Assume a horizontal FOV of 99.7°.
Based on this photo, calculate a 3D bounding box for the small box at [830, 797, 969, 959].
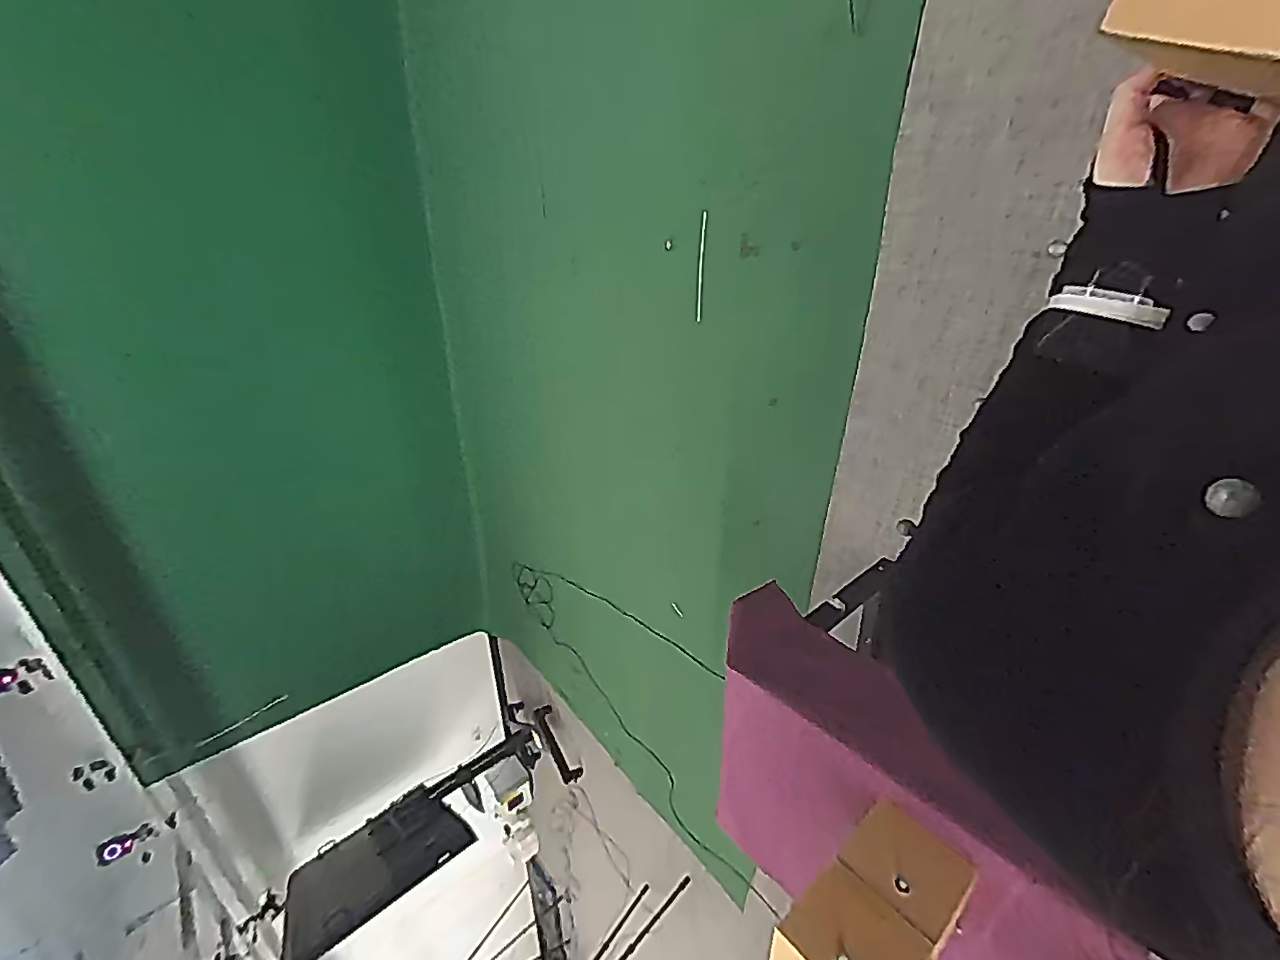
[{"bbox_3d":[0.457,0.724,0.973,0.179,0.176,0.168,28,128,44],"label":"small box"}]

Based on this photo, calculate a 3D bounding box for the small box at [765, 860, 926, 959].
[{"bbox_3d":[0.330,0.770,0.881,0.179,0.176,0.168,26,126,43],"label":"small box"}]
